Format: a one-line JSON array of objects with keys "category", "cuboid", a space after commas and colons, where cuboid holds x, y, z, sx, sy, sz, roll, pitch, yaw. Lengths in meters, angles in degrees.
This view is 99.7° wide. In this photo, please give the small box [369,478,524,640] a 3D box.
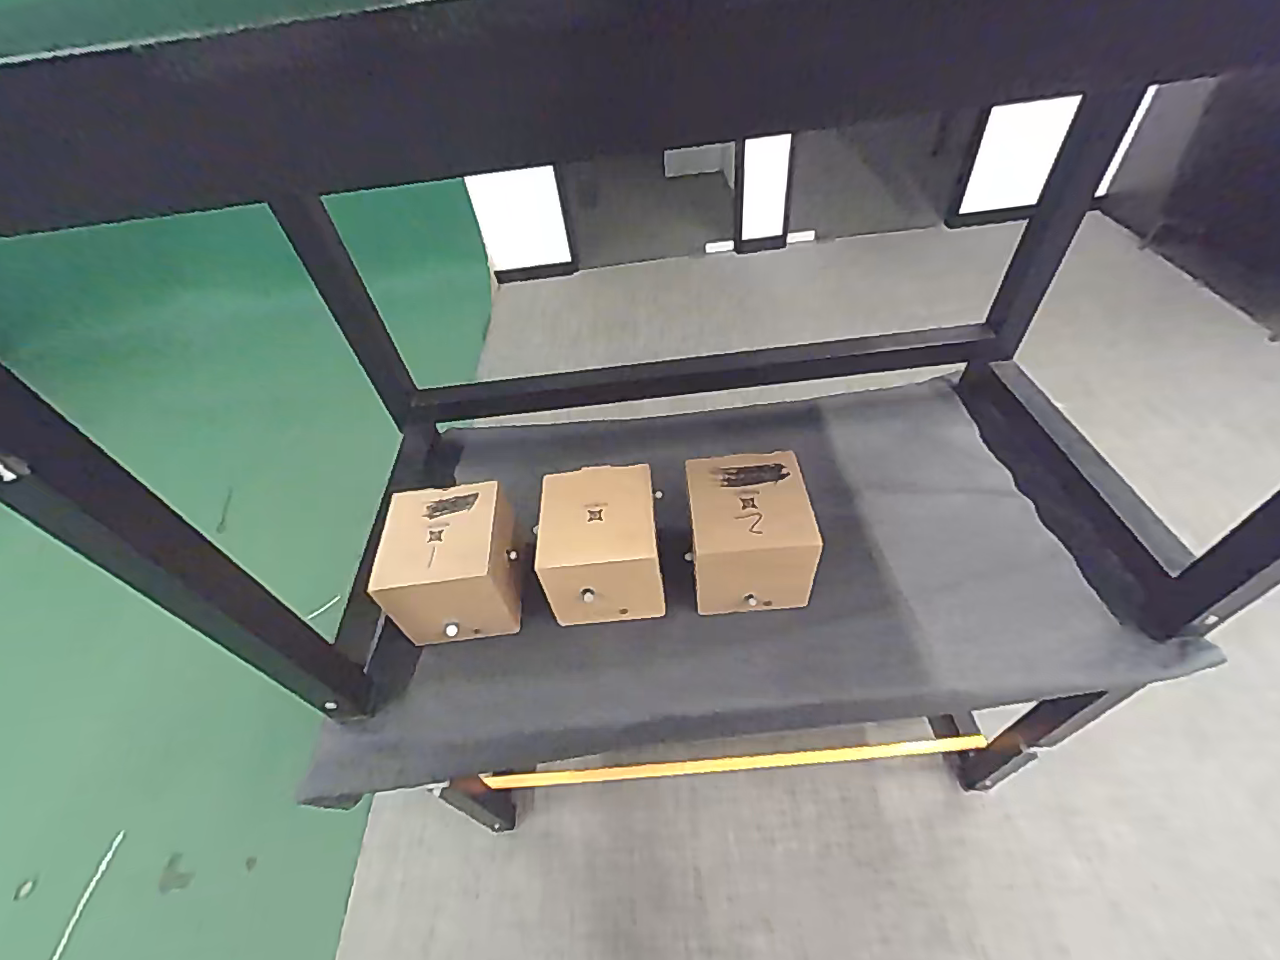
[{"category": "small box", "cuboid": [-0.281, 0.122, 0.833, 0.168, 0.176, 0.179, -8, 48, 1]}]

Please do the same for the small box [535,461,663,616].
[{"category": "small box", "cuboid": [-0.055, 0.096, 0.830, 0.168, 0.176, 0.179, -5, 47, 2]}]
